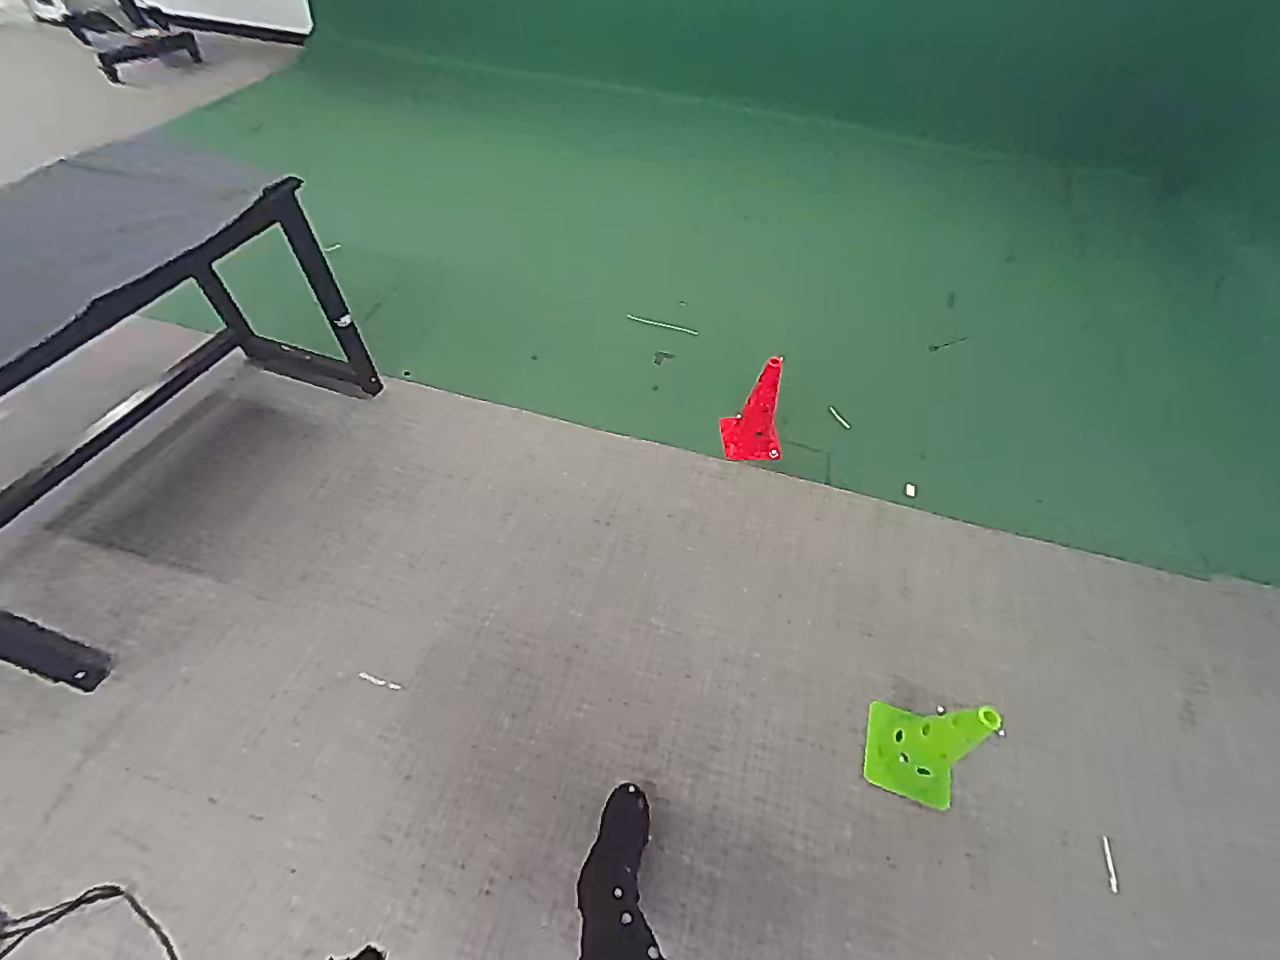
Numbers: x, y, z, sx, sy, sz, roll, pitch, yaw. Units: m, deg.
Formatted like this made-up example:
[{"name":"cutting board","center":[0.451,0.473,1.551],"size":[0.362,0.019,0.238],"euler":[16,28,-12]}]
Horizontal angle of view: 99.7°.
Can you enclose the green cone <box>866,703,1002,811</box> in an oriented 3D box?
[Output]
[{"name":"green cone","center":[0.667,0.567,1.184],"size":[0.200,0.368,0.202],"euler":[17,54,10]}]
